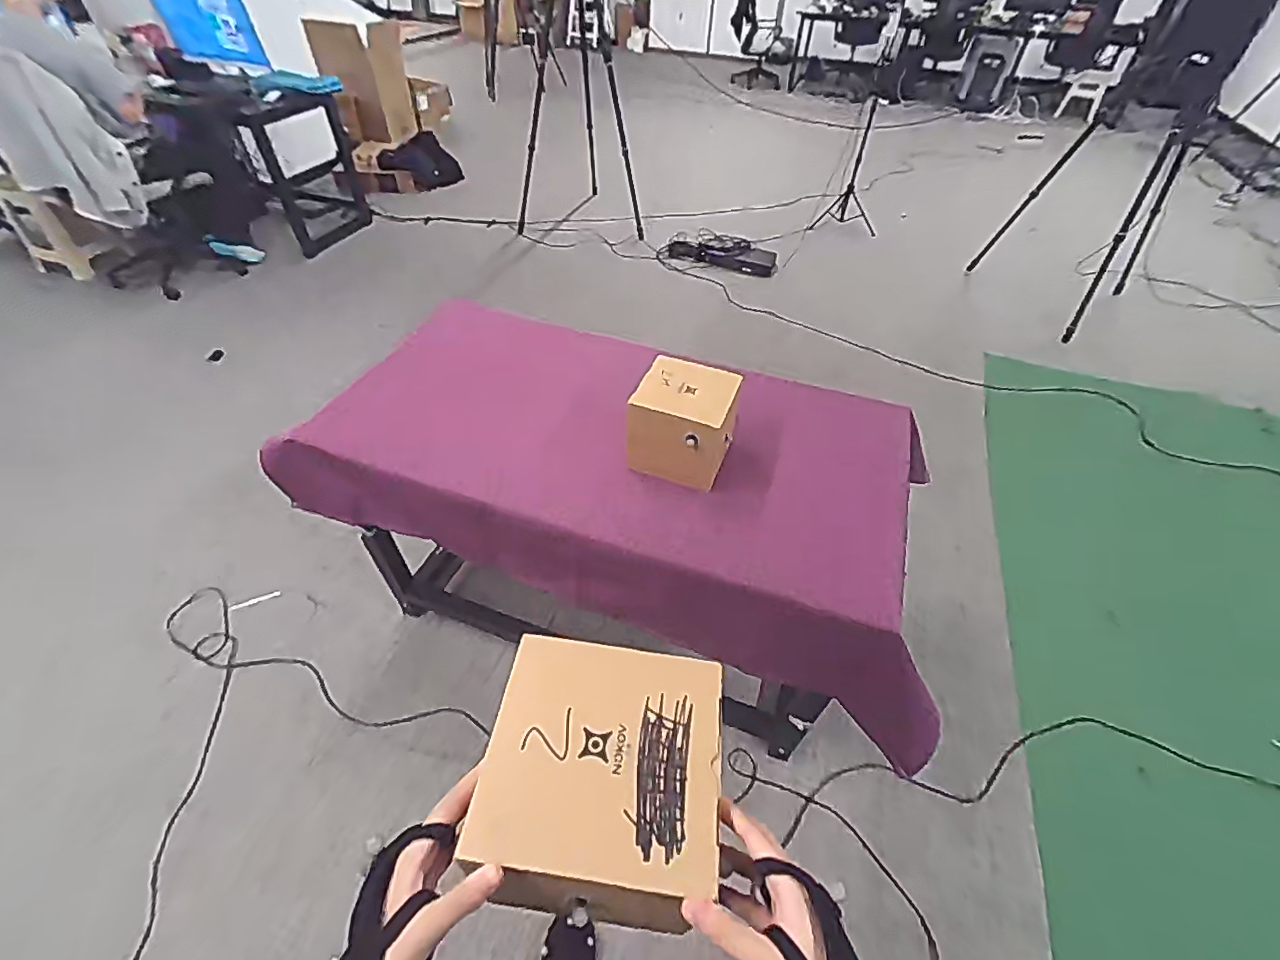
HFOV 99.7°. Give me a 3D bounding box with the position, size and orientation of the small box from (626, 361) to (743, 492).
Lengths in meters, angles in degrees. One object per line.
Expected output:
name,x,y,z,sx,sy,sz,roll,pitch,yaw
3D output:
small box,0.083,-0.101,1.050,0.179,0.176,0.168,17,48,14
